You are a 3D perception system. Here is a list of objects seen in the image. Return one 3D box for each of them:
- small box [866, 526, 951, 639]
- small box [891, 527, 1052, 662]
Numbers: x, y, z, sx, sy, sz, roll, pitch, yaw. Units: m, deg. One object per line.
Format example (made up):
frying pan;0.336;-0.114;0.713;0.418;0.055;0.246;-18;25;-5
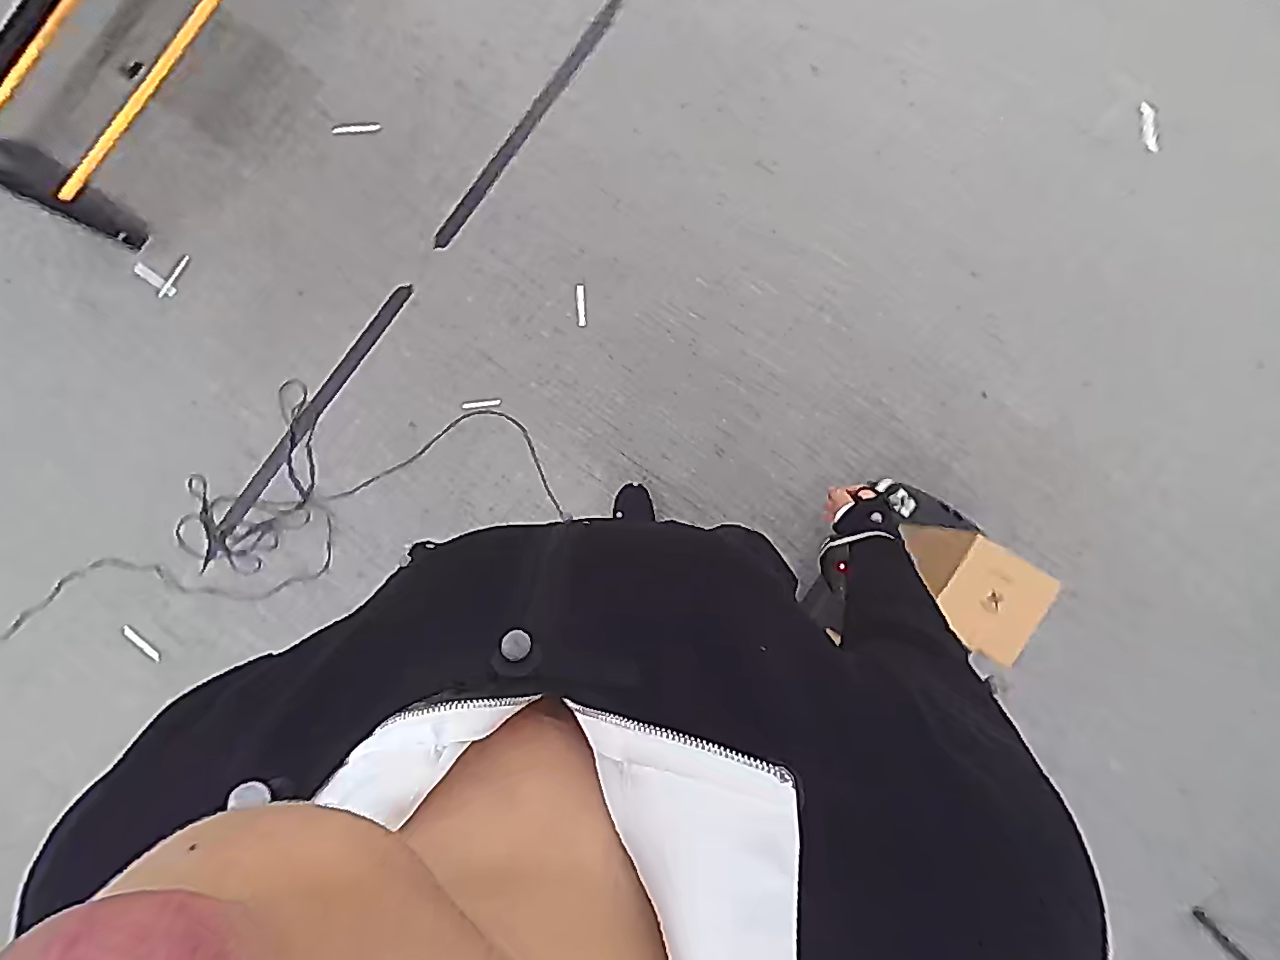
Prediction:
small box;0.618;0.211;1.184;0.168;0.176;0.179;33;90;4
small box;0.606;0.205;1.021;0.168;0.176;0.179;32;90;3
